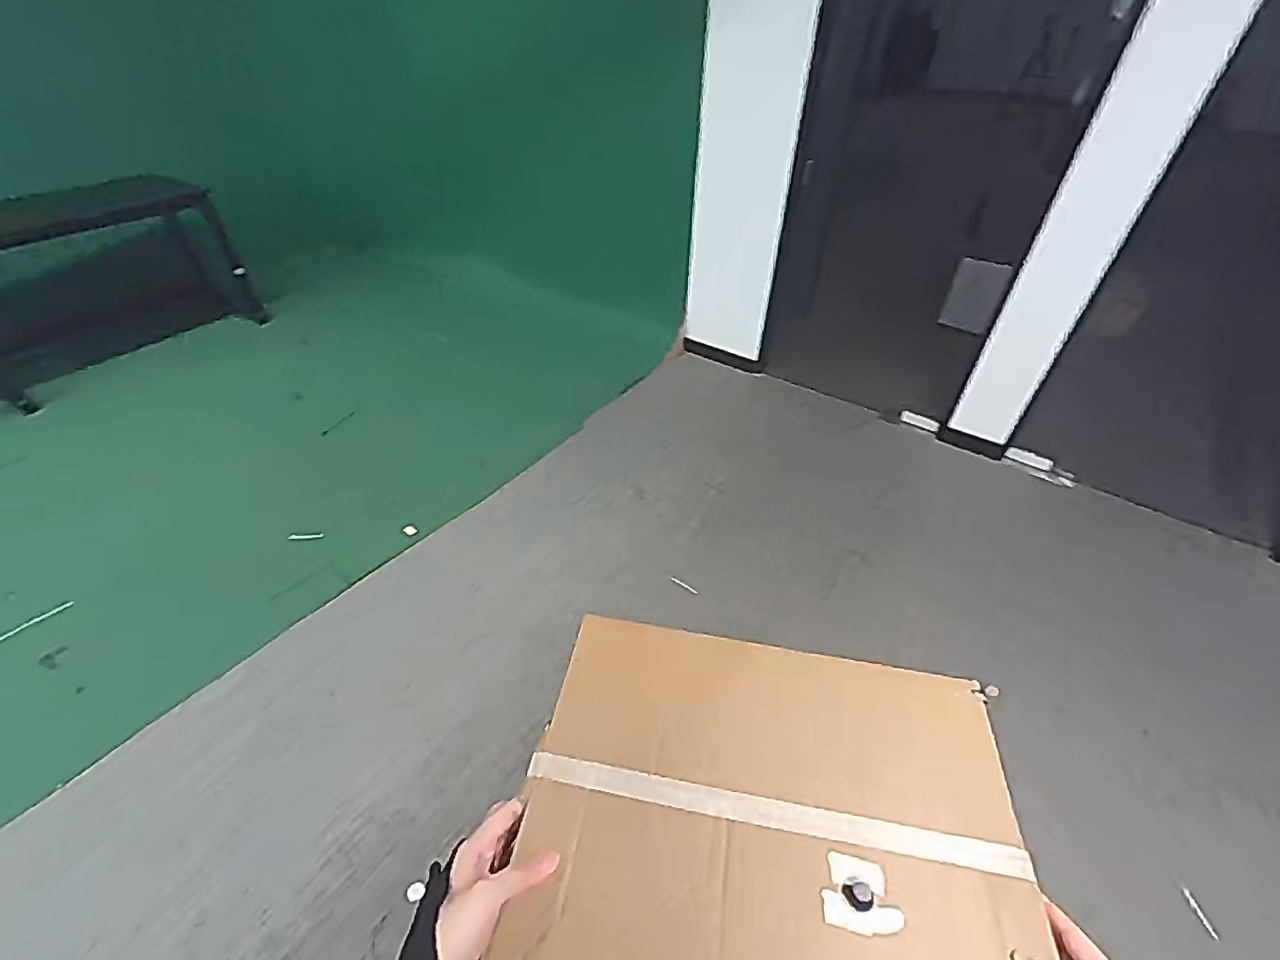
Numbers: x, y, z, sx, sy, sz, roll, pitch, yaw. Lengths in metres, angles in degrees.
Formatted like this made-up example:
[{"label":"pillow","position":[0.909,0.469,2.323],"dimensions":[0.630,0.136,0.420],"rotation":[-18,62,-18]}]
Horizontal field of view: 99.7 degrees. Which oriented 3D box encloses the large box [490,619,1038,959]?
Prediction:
[{"label":"large box","position":[0.102,0.387,0.567],"dimensions":[0.408,0.320,0.320],"rotation":[8,44,6]}]
